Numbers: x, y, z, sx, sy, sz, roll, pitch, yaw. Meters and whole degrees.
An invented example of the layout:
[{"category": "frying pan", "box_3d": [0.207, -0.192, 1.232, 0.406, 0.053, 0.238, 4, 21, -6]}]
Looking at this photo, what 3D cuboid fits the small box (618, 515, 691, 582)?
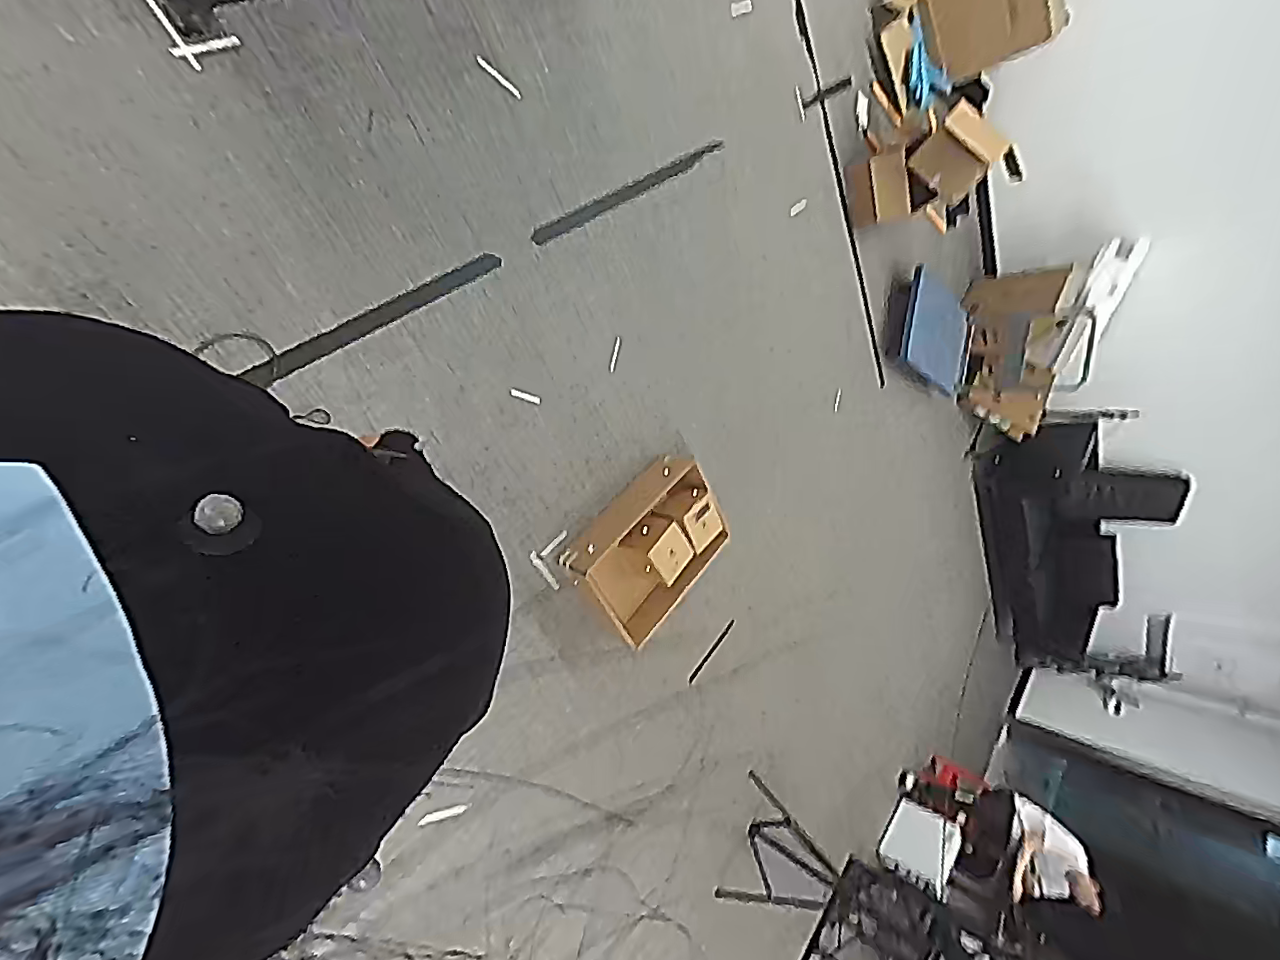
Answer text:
[{"category": "small box", "box_3d": [0.049, 0.243, 1.976, 0.168, 0.176, 0.179, -48, 124, -26]}]
